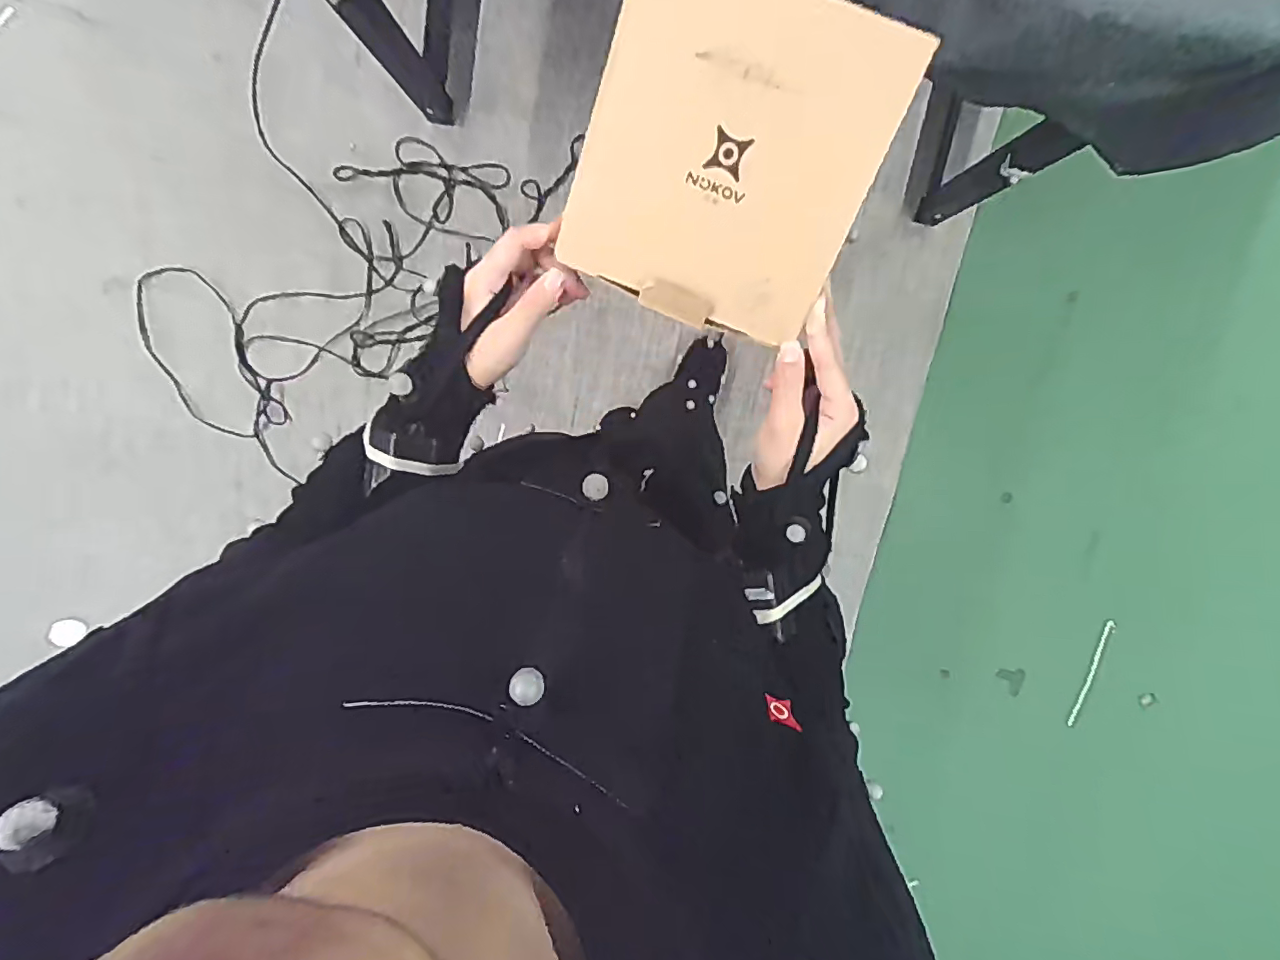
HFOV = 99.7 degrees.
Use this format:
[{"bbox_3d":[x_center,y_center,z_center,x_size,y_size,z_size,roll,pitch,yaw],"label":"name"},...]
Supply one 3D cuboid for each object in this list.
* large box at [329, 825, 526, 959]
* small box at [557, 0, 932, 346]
[{"bbox_3d":[-0.560,1.211,1.451,0.408,0.320,0.320,15,100,-2],"label":"large box"},{"bbox_3d":[0.060,-0.216,0.385,0.168,0.176,0.179,21,112,-1],"label":"small box"}]
